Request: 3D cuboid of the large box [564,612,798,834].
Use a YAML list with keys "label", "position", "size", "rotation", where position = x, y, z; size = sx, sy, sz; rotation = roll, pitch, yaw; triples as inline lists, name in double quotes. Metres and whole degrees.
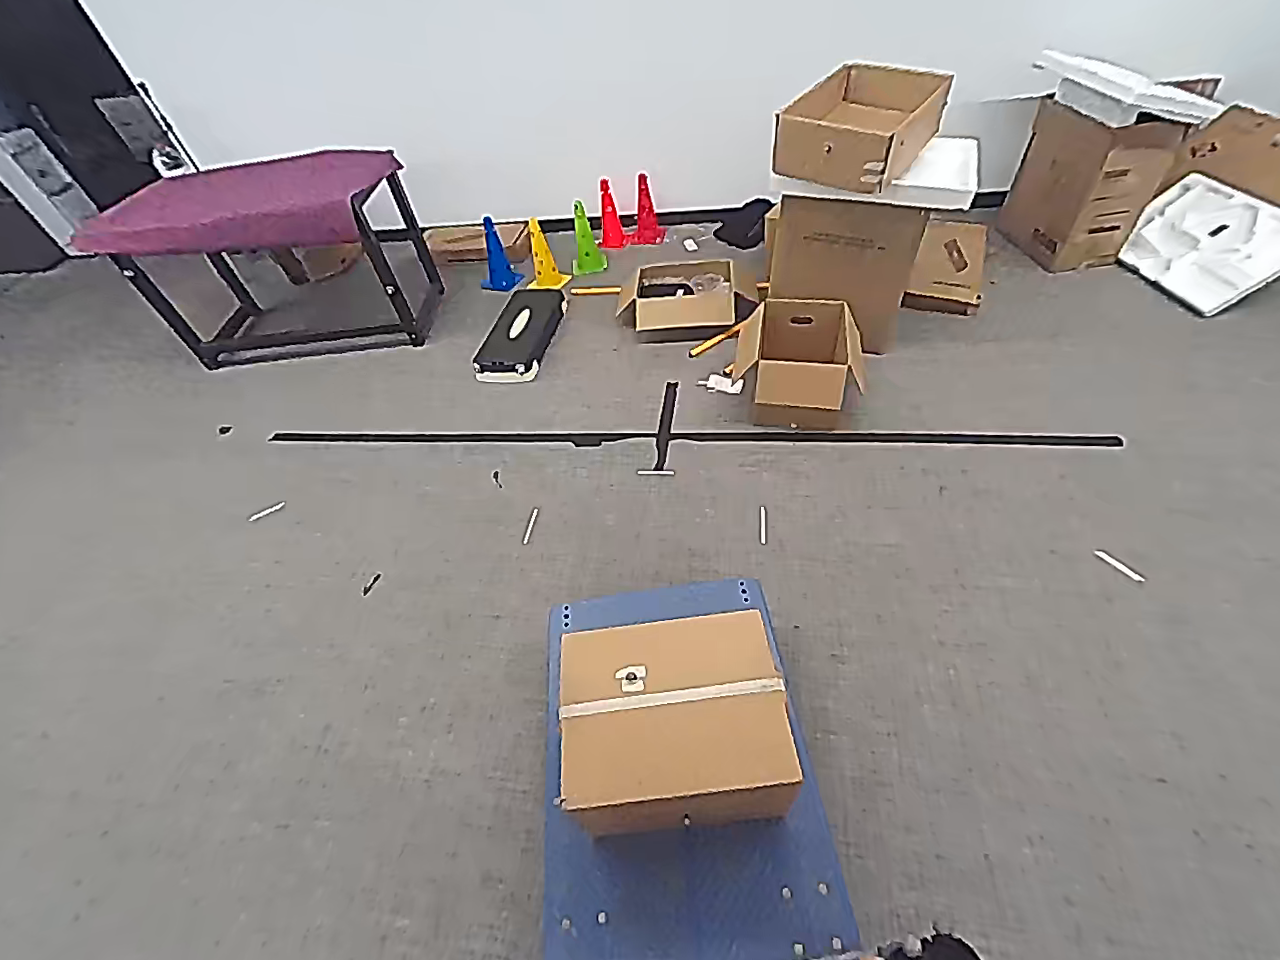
- label: "large box"
  position: [0.075, 0.509, 1.117]
  size: [0.408, 0.320, 0.320]
  rotation: [-9, 48, 2]
